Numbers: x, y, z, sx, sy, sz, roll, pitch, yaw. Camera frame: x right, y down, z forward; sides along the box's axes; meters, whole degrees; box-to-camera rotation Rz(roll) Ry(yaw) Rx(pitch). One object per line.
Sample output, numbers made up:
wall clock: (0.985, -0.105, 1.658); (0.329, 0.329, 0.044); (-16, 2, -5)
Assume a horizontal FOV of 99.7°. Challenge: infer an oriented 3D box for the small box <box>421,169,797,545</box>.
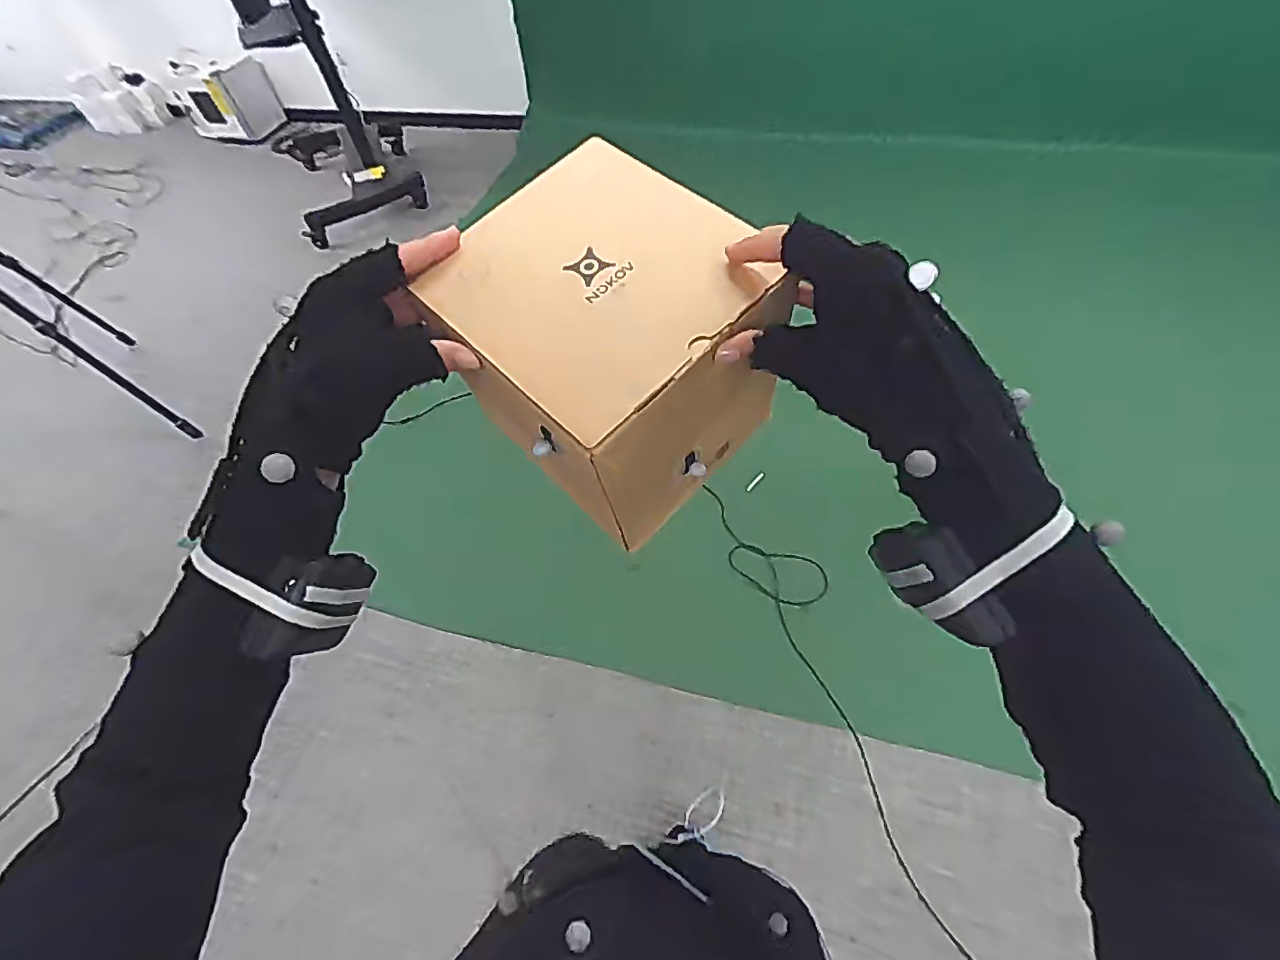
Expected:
small box: (-0.017, -0.079, 0.400); (0.168, 0.176, 0.179); (-43, 69, -14)
